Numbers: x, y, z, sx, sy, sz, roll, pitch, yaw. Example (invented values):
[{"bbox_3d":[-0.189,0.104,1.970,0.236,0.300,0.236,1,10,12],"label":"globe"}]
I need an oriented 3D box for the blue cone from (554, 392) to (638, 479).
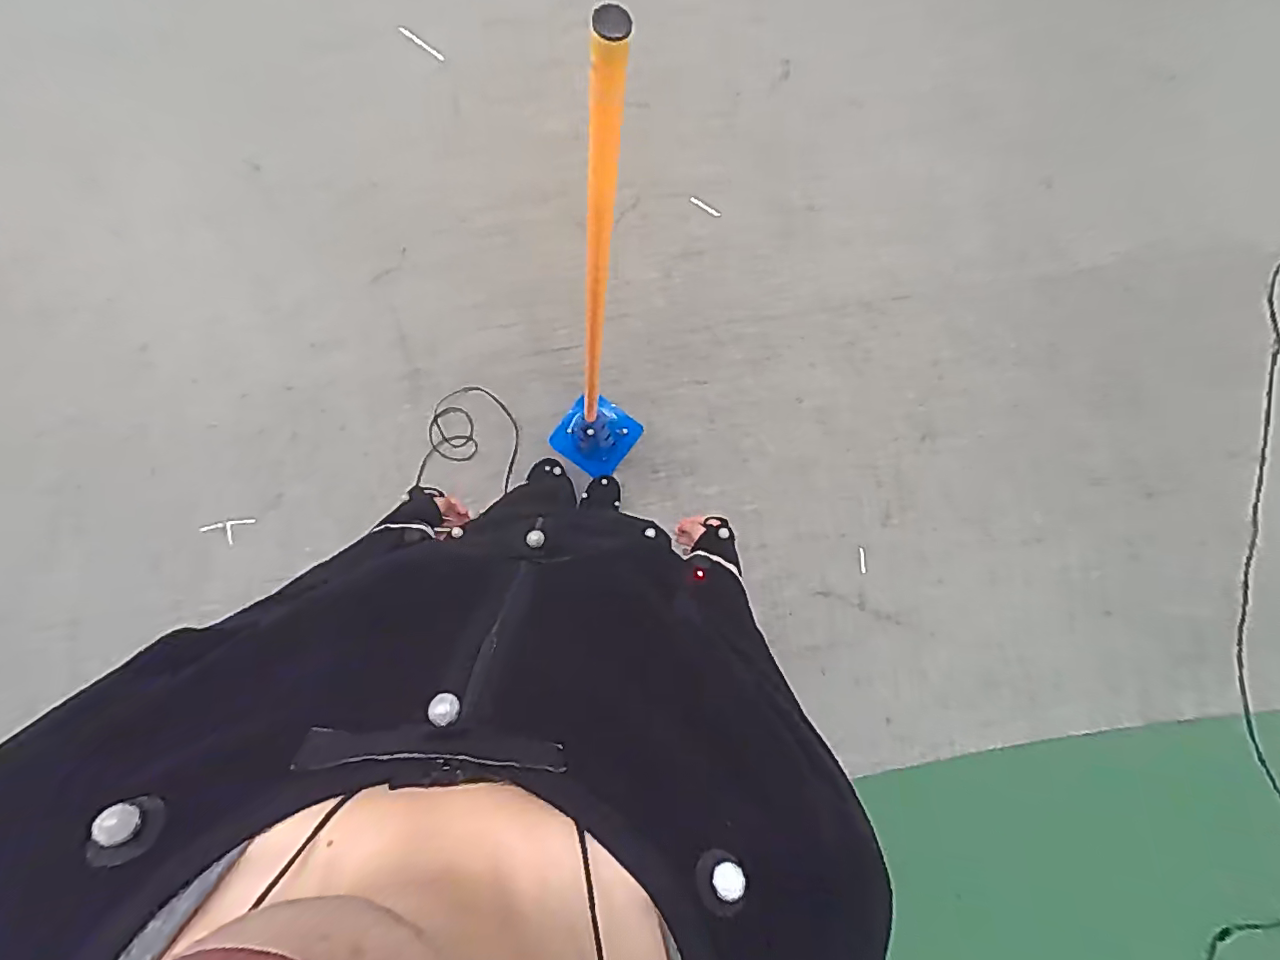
[{"bbox_3d":[-0.111,-0.130,1.310,0.192,0.380,0.193,35,86,-2],"label":"blue cone"}]
